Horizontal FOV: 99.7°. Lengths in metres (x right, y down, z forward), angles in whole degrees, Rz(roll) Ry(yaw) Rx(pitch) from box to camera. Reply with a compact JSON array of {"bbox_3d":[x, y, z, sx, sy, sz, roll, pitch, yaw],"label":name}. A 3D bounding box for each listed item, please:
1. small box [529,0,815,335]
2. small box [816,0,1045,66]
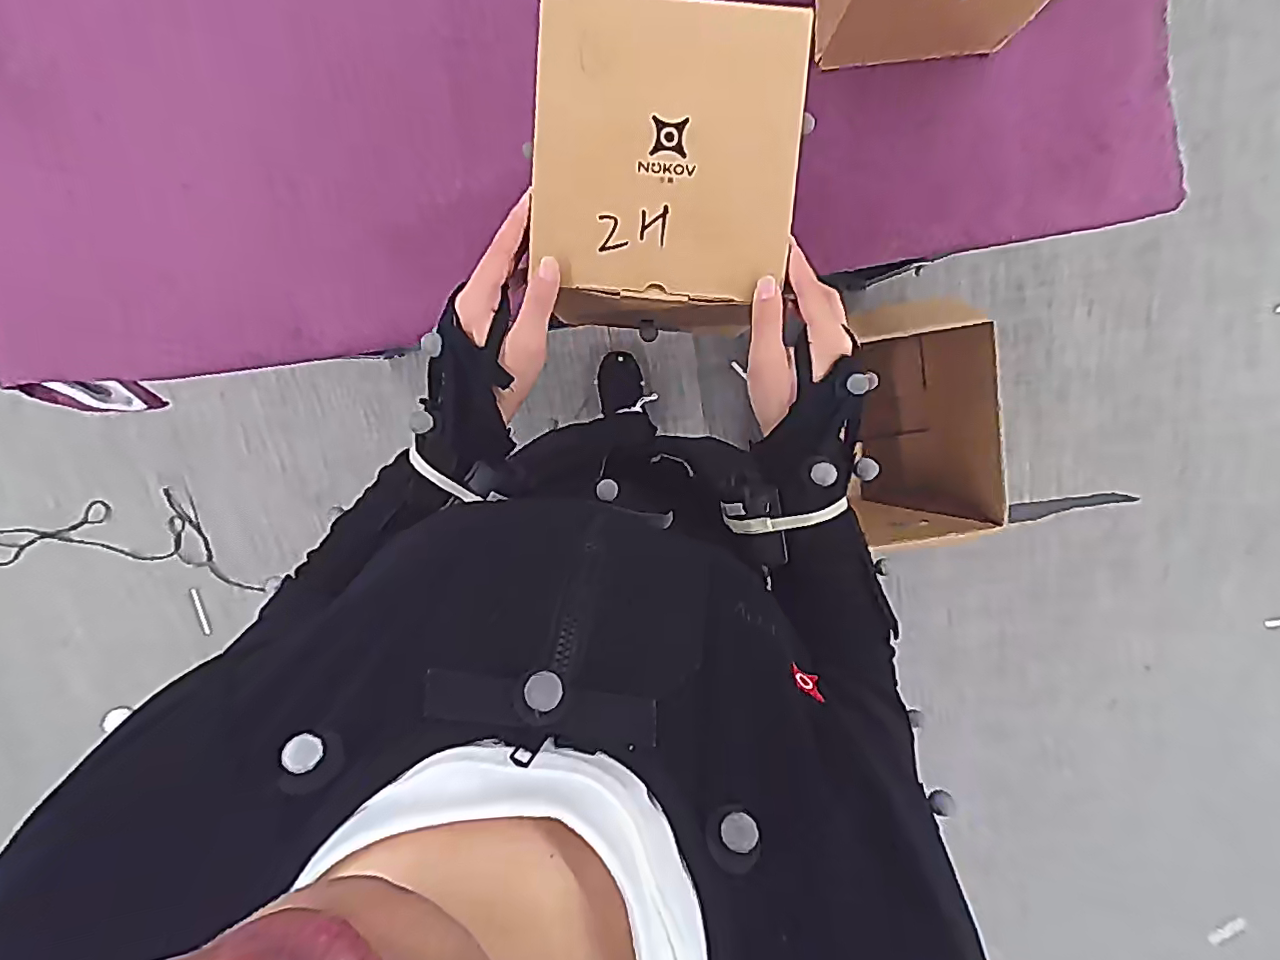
[{"bbox_3d":[0.017,-0.217,0.413,0.168,0.176,0.179,5,98,-1],"label":"small box"},{"bbox_3d":[0.255,-0.475,0.438,0.179,0.176,0.168,-3,101,4],"label":"small box"}]
